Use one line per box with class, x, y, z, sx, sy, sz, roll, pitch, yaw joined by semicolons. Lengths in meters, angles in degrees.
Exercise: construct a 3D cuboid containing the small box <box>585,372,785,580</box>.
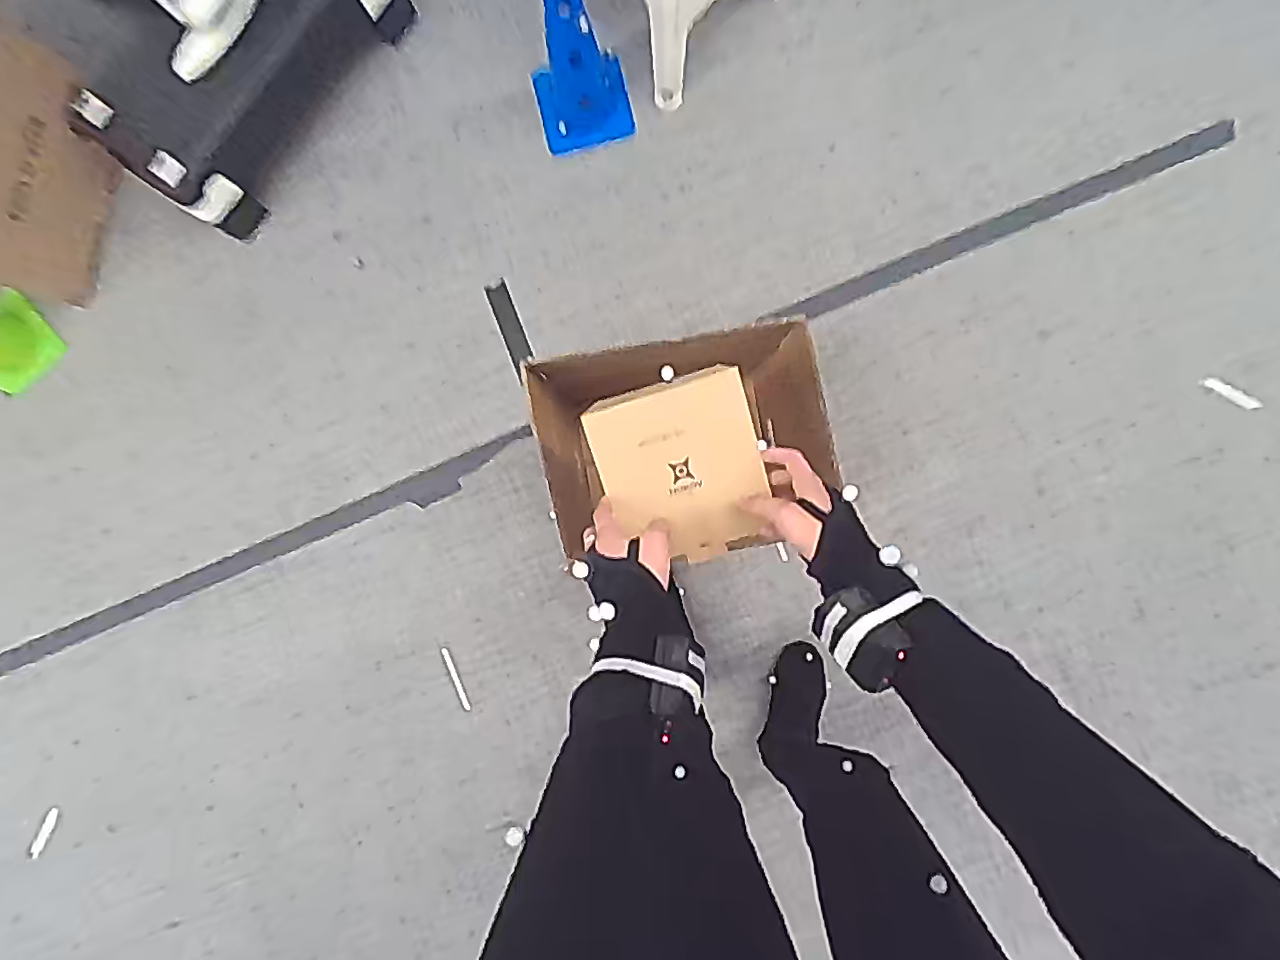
small box;0.049;-0.016;0.615;0.168;0.176;0.179;-17;102;4
